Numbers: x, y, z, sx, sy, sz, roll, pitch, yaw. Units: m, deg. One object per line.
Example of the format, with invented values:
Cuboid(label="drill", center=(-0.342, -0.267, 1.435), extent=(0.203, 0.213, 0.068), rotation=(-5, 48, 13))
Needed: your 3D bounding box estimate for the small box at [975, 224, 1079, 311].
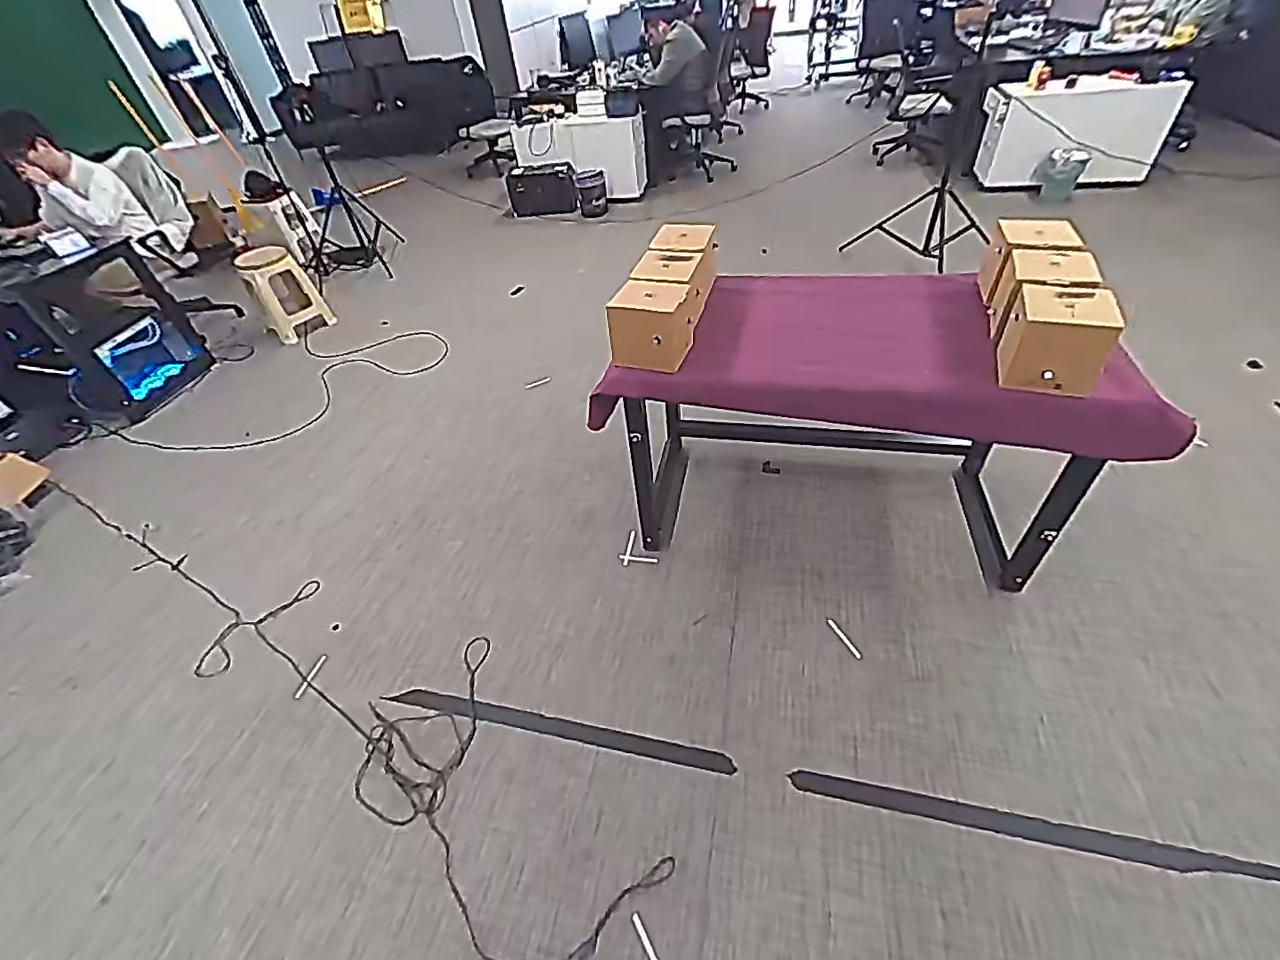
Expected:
Cuboid(label="small box", center=(1.021, -0.567, 1.447), extent=(0.168, 0.176, 0.179), rotation=(9, 45, 15))

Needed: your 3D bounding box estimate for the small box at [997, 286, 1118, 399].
Cuboid(label="small box", center=(0.906, -0.304, 1.189), extent=(0.168, 0.176, 0.179), rotation=(12, 51, 23))

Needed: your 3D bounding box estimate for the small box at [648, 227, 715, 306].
Cuboid(label="small box", center=(0.129, -0.652, 1.649), extent=(0.168, 0.176, 0.179), rotation=(8, 47, 16))
